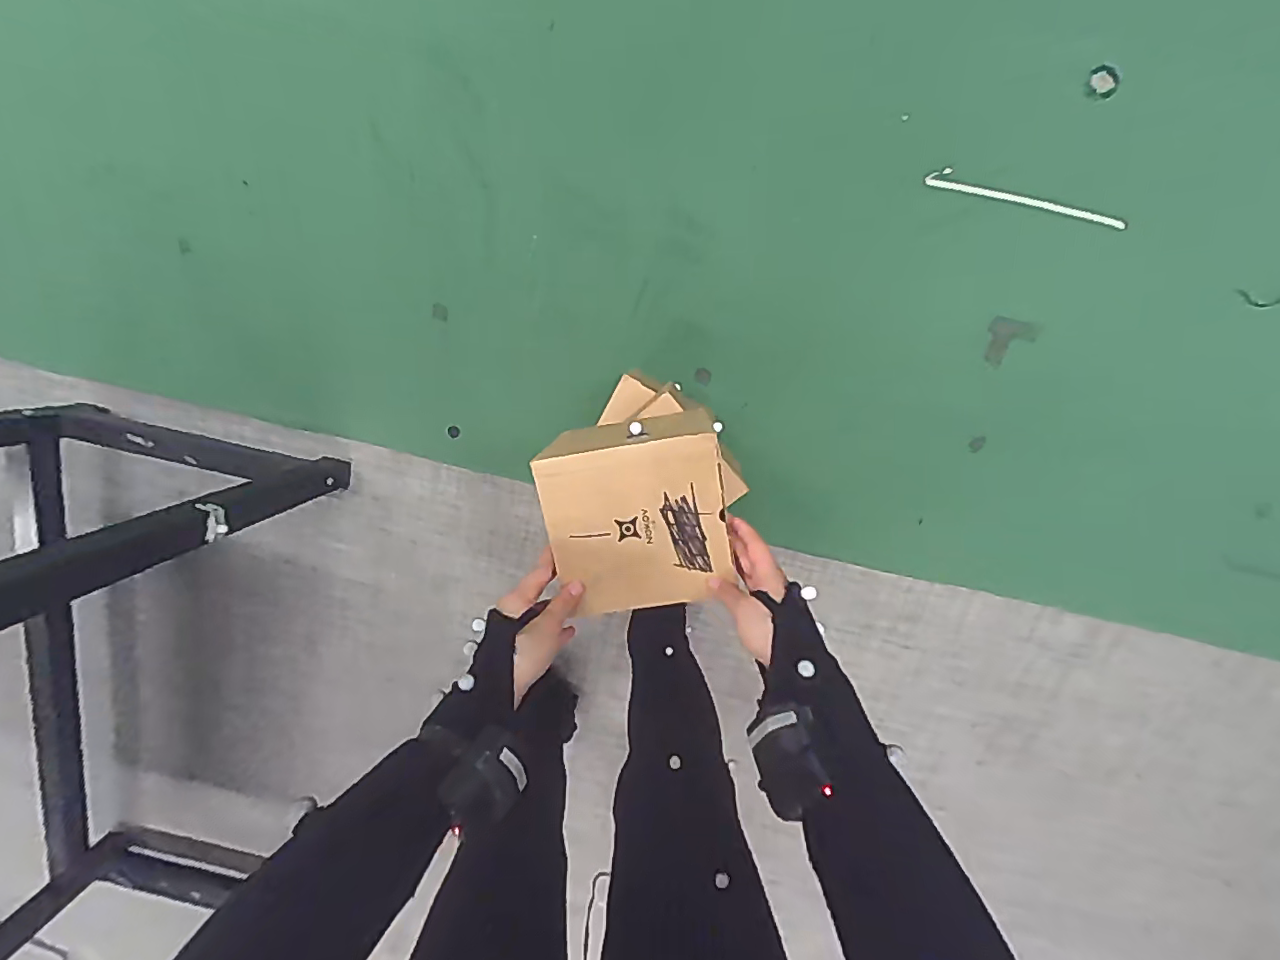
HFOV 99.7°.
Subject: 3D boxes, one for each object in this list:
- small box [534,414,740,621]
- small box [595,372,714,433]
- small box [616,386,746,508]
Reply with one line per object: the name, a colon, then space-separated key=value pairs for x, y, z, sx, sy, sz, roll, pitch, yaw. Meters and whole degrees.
small box: x=0.003 y=0.029 z=0.586 sx=0.179 sy=0.176 sz=0.168 roll=-9 pitch=104 yaw=6
small box: x=0.012 y=-0.067 z=0.918 sx=0.168 sy=0.176 sz=0.179 roll=29 pitch=105 yaw=-3
small box: x=0.027 y=-0.014 z=0.762 sx=0.179 sy=0.176 sz=0.168 roll=-39 pitch=99 yaw=13
